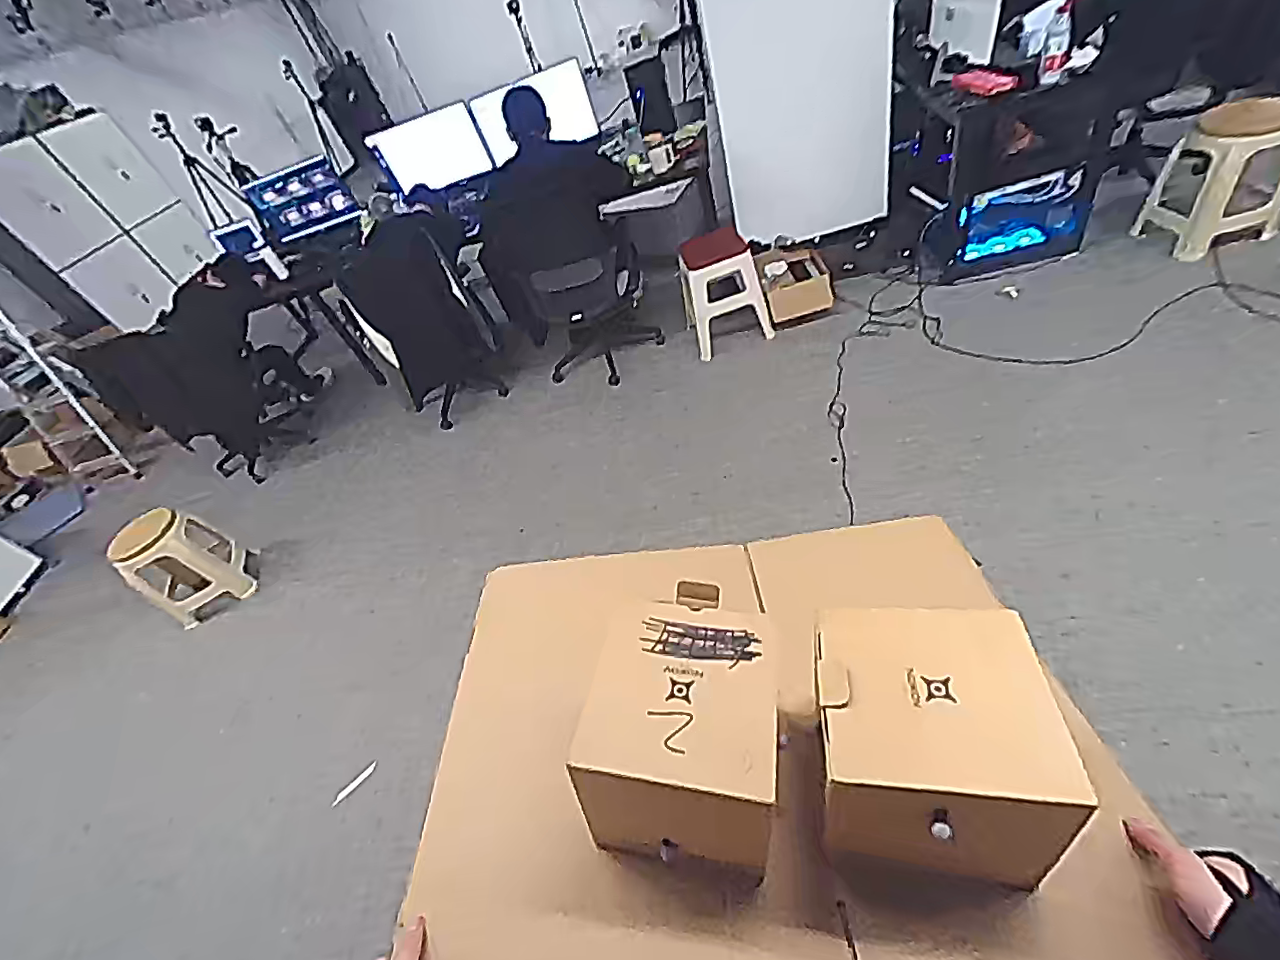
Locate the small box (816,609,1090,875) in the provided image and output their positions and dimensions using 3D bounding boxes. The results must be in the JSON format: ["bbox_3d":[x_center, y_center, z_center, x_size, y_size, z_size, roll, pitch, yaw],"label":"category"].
[{"bbox_3d":[0.260,0.240,0.505,0.179,0.176,0.168,-3,38,15],"label":"small box"}]
